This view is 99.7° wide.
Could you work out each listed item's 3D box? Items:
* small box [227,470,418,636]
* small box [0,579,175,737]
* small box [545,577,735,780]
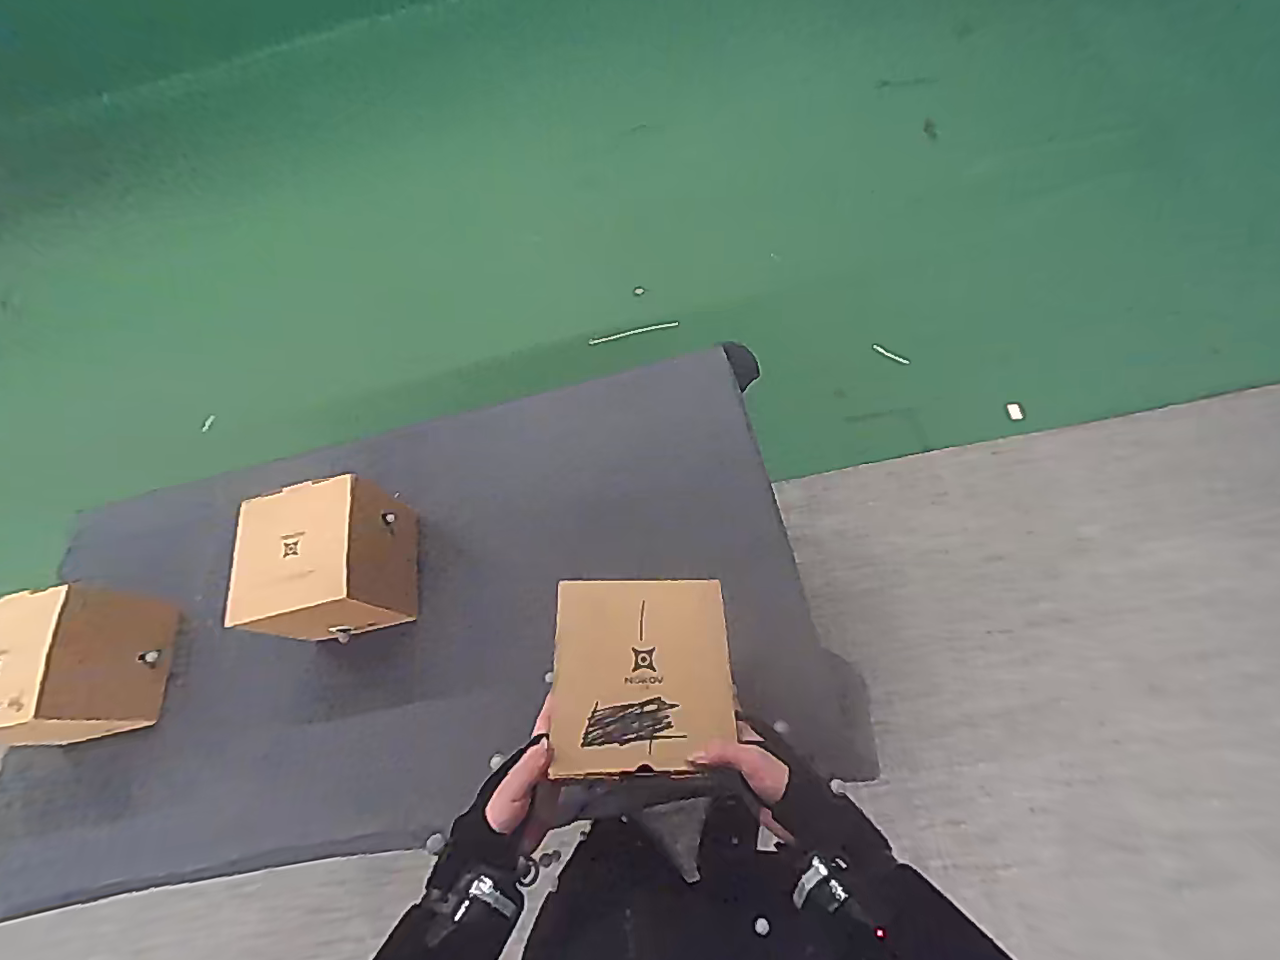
[{"bbox_3d":[-0.436,0.111,0.770,0.168,0.176,0.179,-14,67,5],"label":"small box"},{"bbox_3d":[-0.817,0.259,0.767,0.168,0.176,0.179,-13,65,4],"label":"small box"},{"bbox_3d":[-0.003,0.214,0.568,0.168,0.176,0.179,1,58,-4],"label":"small box"}]
